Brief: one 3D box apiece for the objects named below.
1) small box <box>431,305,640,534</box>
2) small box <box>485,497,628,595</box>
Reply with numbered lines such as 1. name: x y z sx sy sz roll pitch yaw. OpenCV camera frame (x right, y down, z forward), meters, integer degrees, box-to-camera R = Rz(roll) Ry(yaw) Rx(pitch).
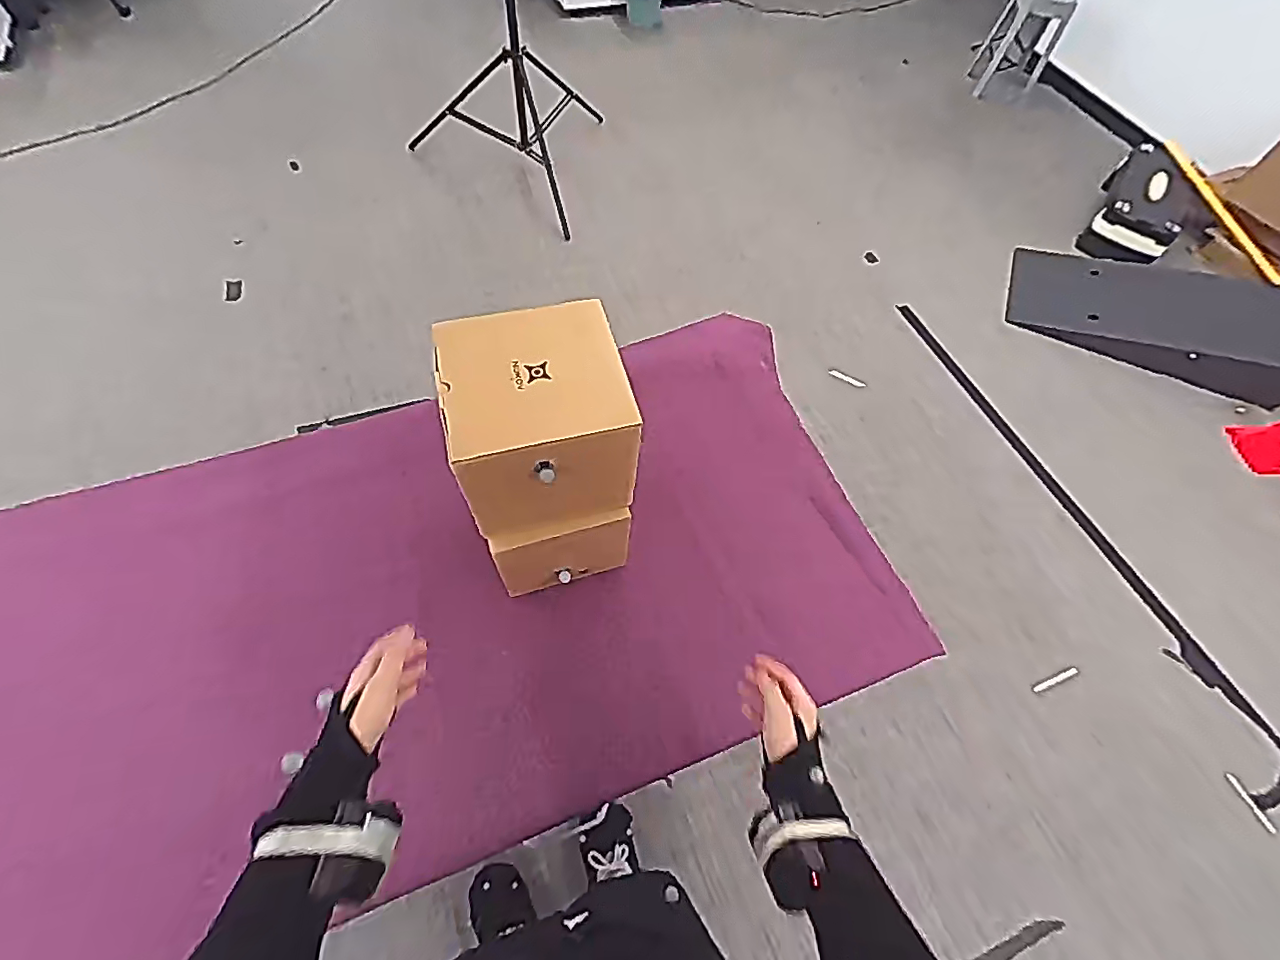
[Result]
1. small box: -0.110 -0.059 0.589 0.179 0.176 0.168 -13 63 -10
2. small box: -0.122 0.031 0.723 0.168 0.176 0.179 -14 64 -12
